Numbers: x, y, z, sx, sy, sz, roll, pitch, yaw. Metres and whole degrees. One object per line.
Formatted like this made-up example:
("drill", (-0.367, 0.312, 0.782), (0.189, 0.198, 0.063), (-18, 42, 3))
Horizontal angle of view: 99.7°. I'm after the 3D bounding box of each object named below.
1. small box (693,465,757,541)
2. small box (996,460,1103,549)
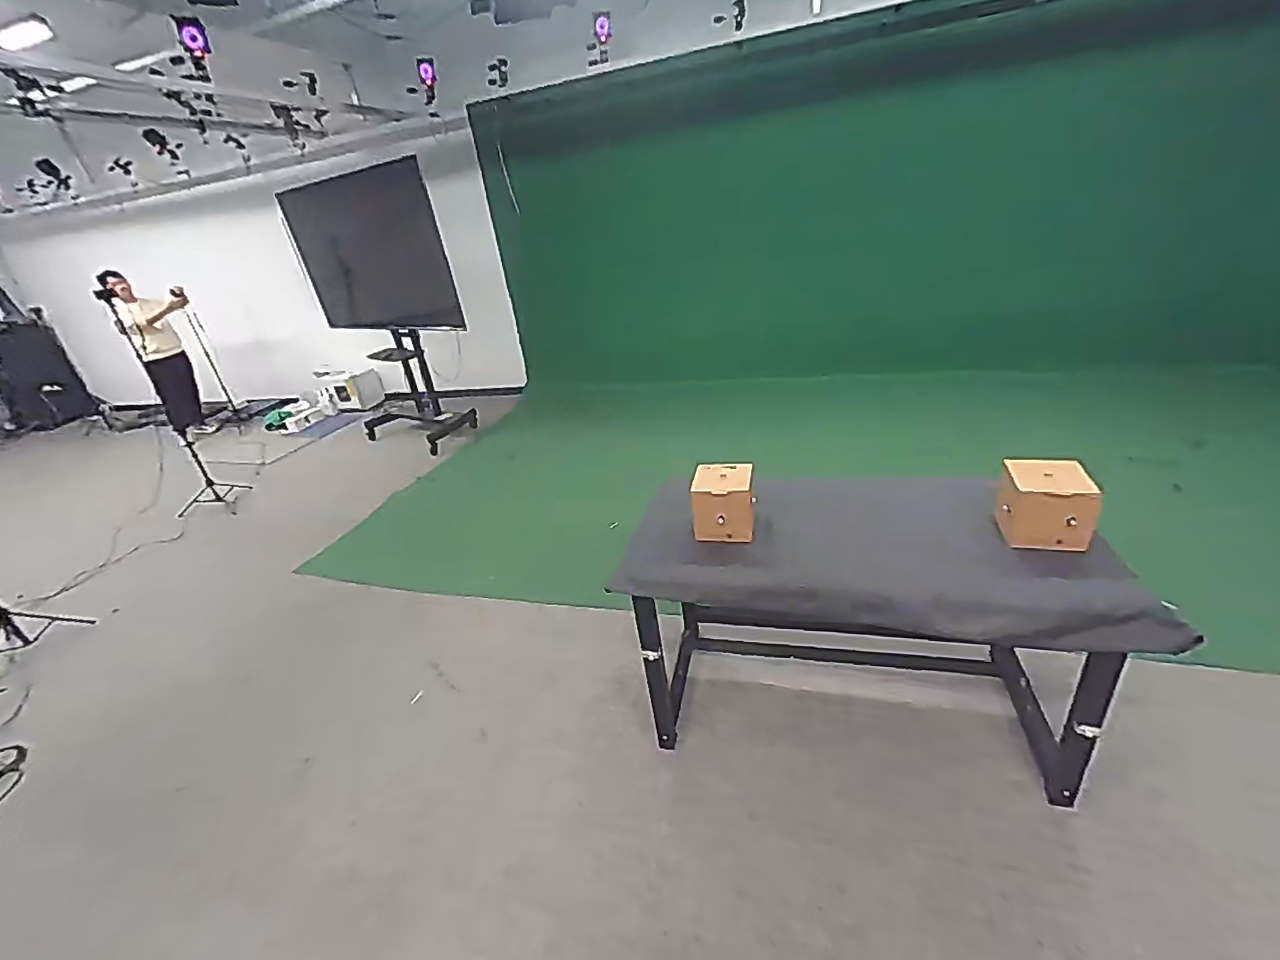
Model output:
("small box", (0.260, 0.069, 1.610), (0.168, 0.176, 0.179), (0, 28, 16))
("small box", (1.035, 0.060, 1.382), (0.168, 0.176, 0.179), (2, 28, 19))
